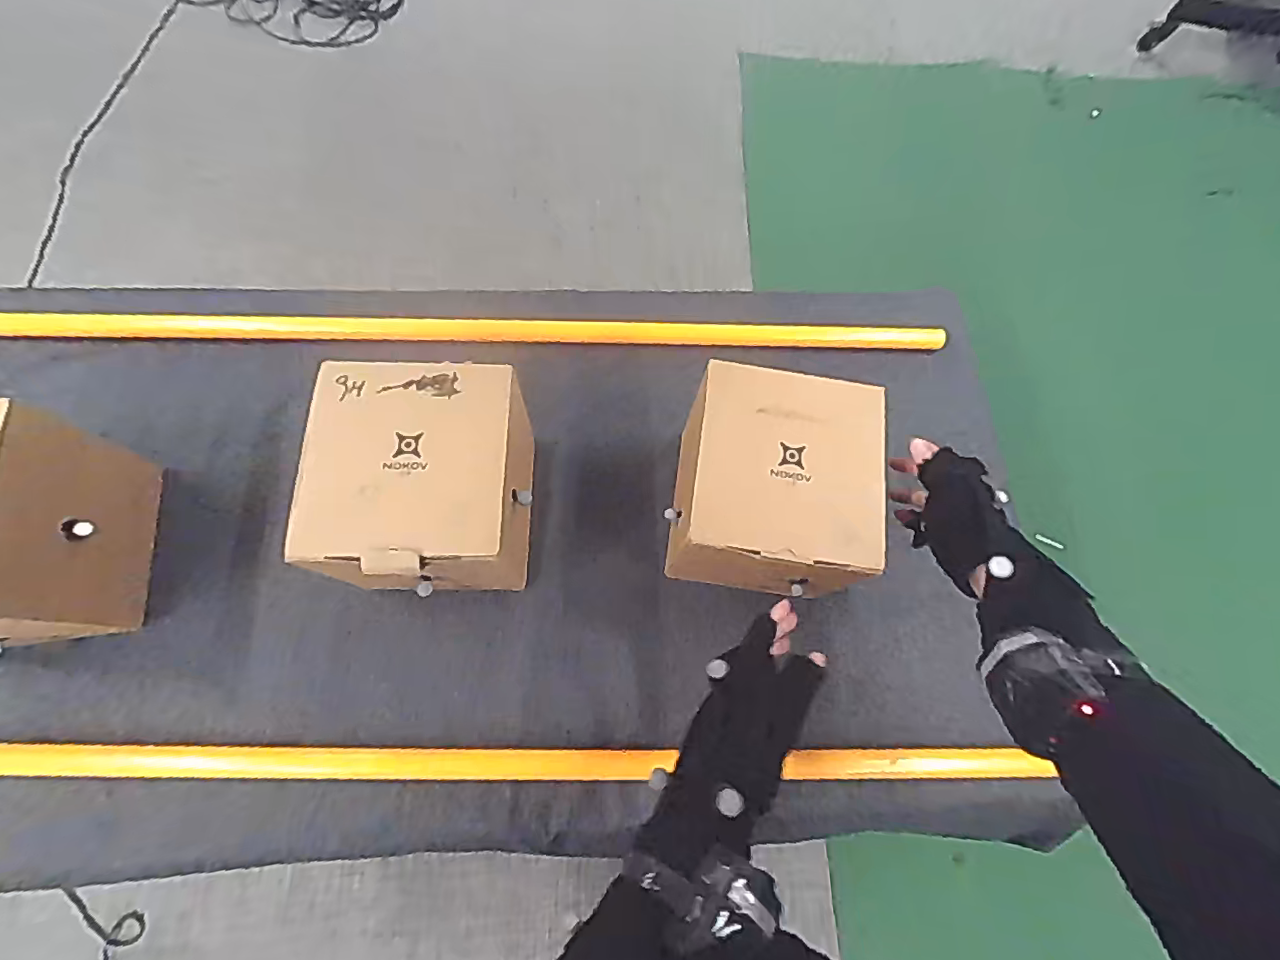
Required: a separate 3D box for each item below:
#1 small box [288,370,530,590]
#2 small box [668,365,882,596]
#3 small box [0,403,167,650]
[{"bbox_3d":[-0.201,0.011,0.527,0.168,0.176,0.179,-1,70,-4],"label":"small box"},{"bbox_3d":[0.124,0.012,0.545,0.168,0.176,0.179,8,69,-1],"label":"small box"},{"bbox_3d":[-0.576,0.052,0.482,0.168,0.176,0.179,-6,72,-6],"label":"small box"}]
